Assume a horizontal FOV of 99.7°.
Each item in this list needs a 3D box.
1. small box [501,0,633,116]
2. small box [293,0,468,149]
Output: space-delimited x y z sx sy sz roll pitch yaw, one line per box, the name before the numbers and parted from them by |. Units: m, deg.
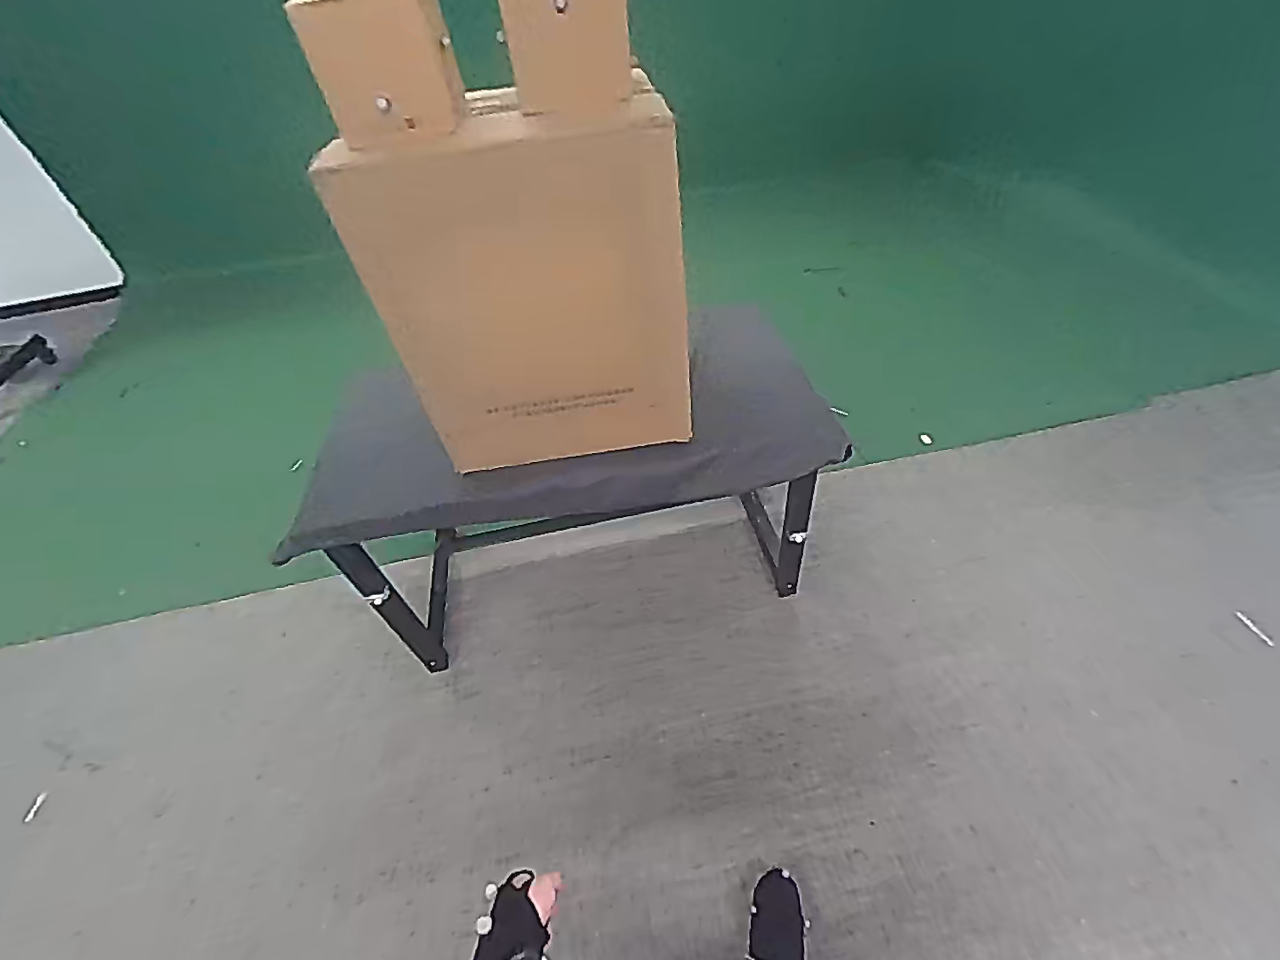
small box | -0.110 -0.681 0.830 0.179 0.176 0.168 -8 49 -3
small box | -0.368 -0.620 0.807 0.168 0.176 0.179 -9 48 0
